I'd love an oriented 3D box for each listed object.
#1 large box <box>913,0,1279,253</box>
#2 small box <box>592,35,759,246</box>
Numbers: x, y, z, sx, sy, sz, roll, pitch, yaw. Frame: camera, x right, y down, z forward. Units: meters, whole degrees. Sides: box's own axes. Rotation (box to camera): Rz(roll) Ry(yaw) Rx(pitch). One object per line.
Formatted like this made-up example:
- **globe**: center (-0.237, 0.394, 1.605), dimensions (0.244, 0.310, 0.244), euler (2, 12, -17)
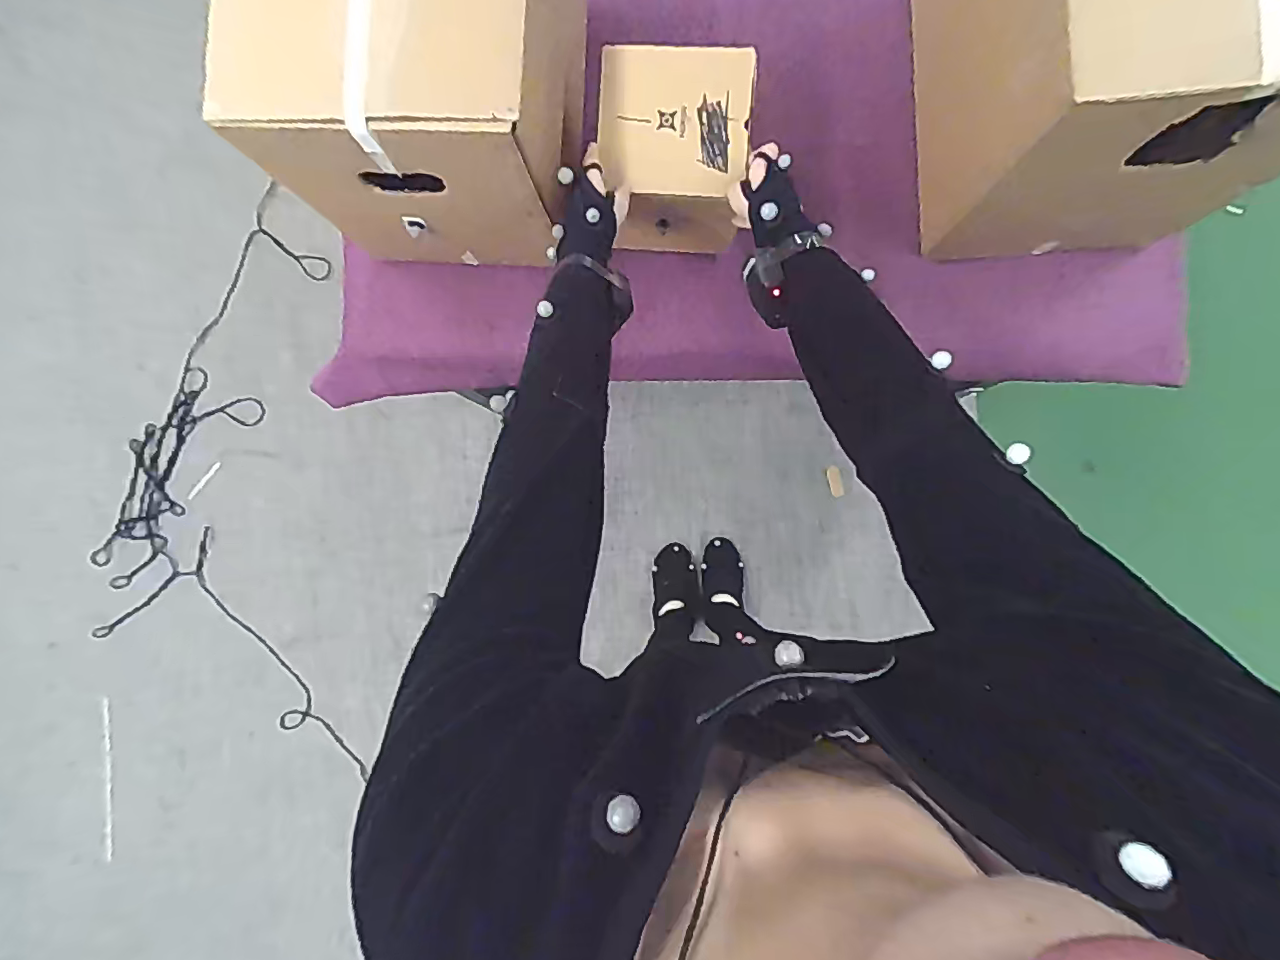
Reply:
- **large box**: center (0.539, -0.528, 0.615), dimensions (0.320, 0.320, 0.408), euler (-2, 88, 6)
- **small box**: center (0.042, -0.412, 0.684), dimensions (0.179, 0.176, 0.168), euler (5, 92, 3)
